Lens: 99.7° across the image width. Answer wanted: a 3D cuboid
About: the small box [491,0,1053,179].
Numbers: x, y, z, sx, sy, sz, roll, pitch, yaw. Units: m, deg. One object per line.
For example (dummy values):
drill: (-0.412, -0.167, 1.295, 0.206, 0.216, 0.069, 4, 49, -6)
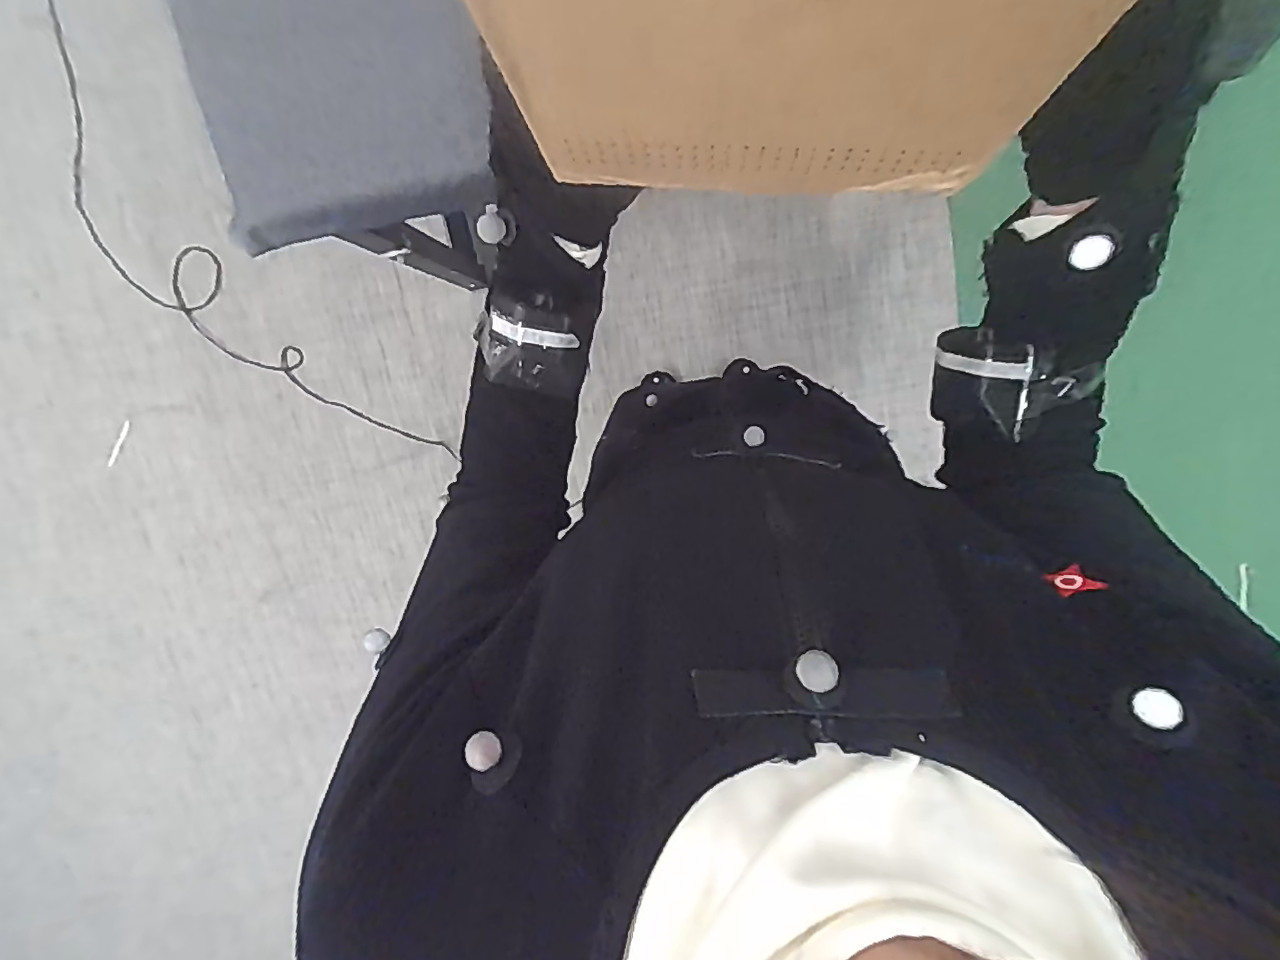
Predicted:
small box: (0.042, -0.215, 0.161, 0.179, 0.176, 0.168, 5, 92, 7)
